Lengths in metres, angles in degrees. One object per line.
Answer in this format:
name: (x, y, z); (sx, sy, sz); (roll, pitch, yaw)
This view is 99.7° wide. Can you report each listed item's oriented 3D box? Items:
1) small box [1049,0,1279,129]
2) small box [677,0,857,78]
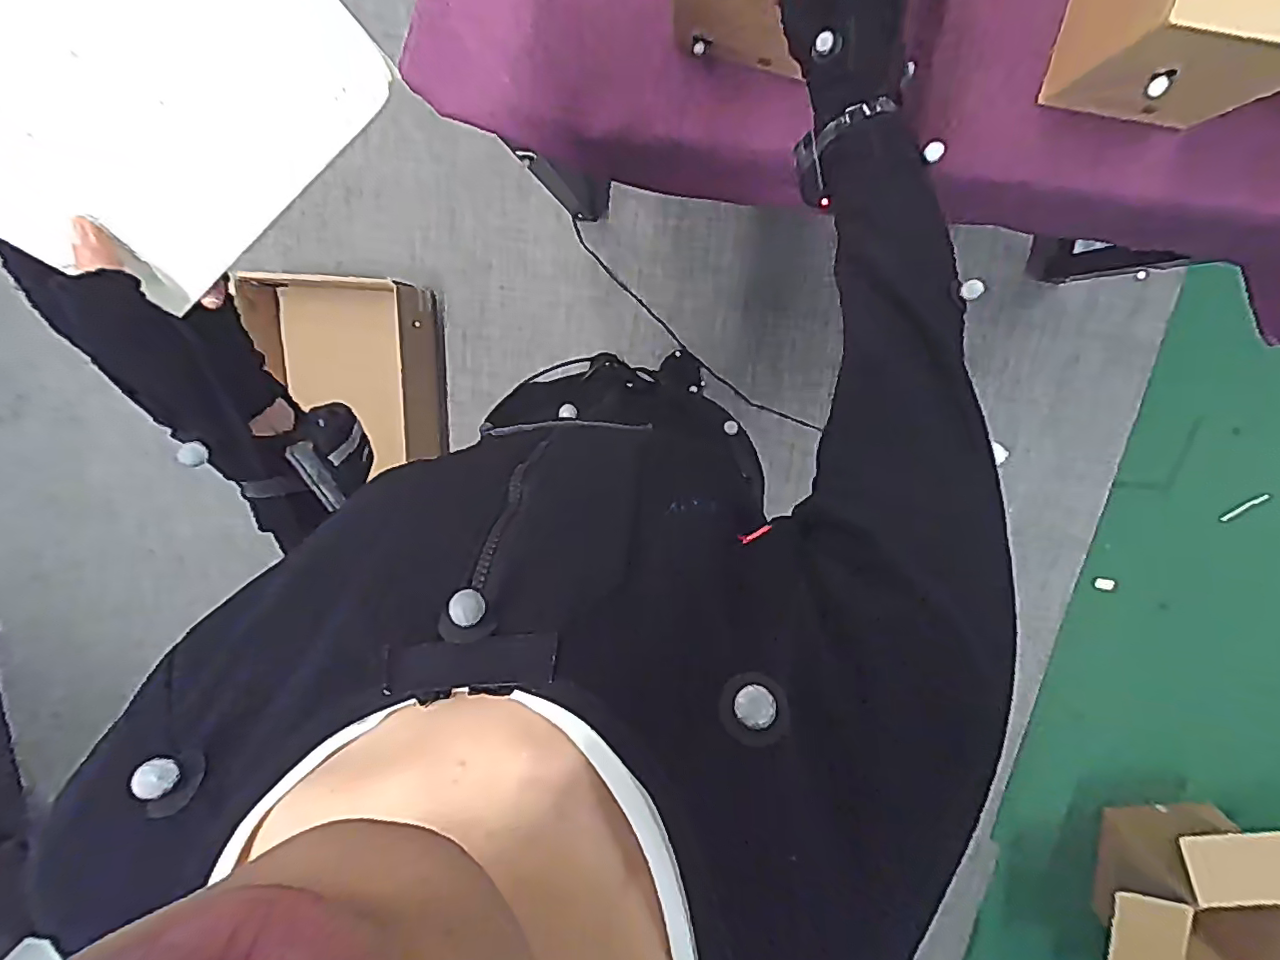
small box: (0.525, -0.452, 0.491); (0.168, 0.176, 0.179); (12, 106, 1)
small box: (0.133, -0.516, 0.497); (0.168, 0.176, 0.179); (15, 105, -1)
